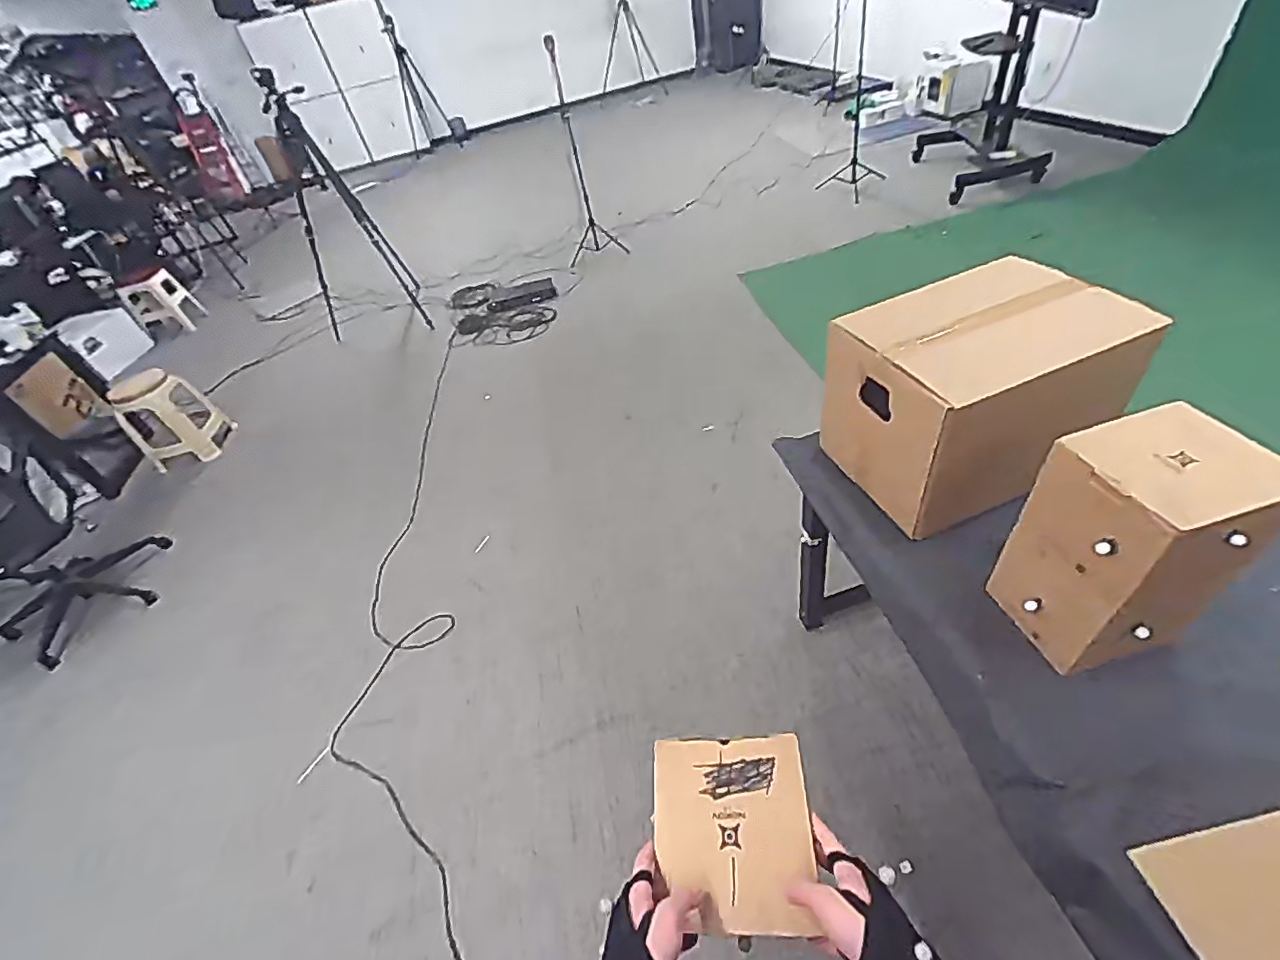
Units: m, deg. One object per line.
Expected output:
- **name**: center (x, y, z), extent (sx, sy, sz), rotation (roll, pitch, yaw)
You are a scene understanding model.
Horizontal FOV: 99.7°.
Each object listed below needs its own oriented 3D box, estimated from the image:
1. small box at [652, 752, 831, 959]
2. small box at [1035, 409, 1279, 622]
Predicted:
- **small box**: center (0.113, 0.420, 0.609), extent (0.168, 0.176, 0.179), rotation (-8, 52, 12)
- **small box**: center (0.626, 0.047, 0.657), extent (0.179, 0.176, 0.168), rotation (-17, 46, -4)
